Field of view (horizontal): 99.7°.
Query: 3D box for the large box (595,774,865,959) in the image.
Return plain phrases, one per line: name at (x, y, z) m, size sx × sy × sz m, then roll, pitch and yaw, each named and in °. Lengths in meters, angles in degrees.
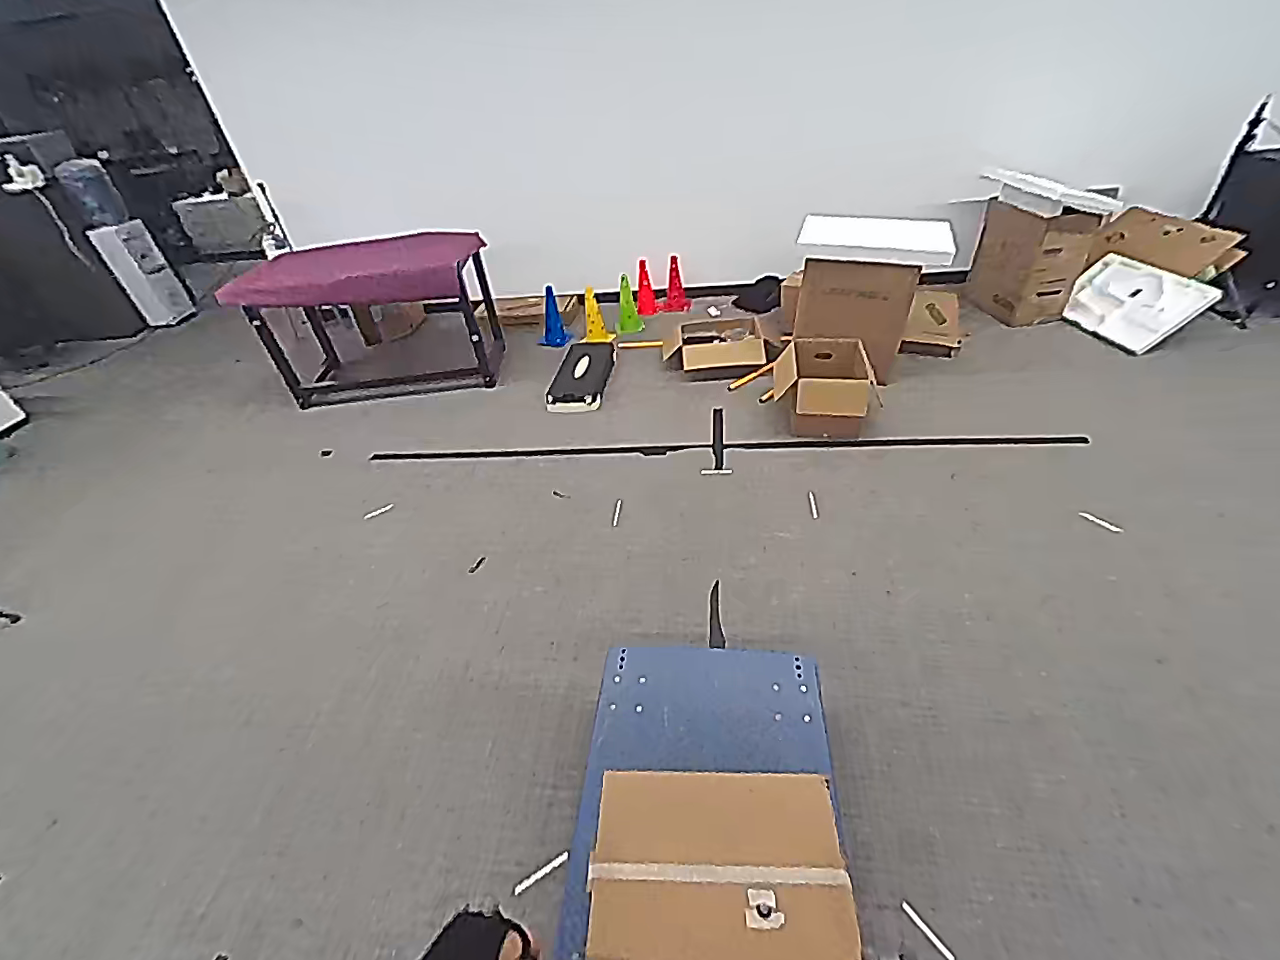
large box at (0.142, 0.756, 0.969) m, size 0.408 × 0.320 × 0.320 m, roll -2°, pitch 39°, yaw 4°
